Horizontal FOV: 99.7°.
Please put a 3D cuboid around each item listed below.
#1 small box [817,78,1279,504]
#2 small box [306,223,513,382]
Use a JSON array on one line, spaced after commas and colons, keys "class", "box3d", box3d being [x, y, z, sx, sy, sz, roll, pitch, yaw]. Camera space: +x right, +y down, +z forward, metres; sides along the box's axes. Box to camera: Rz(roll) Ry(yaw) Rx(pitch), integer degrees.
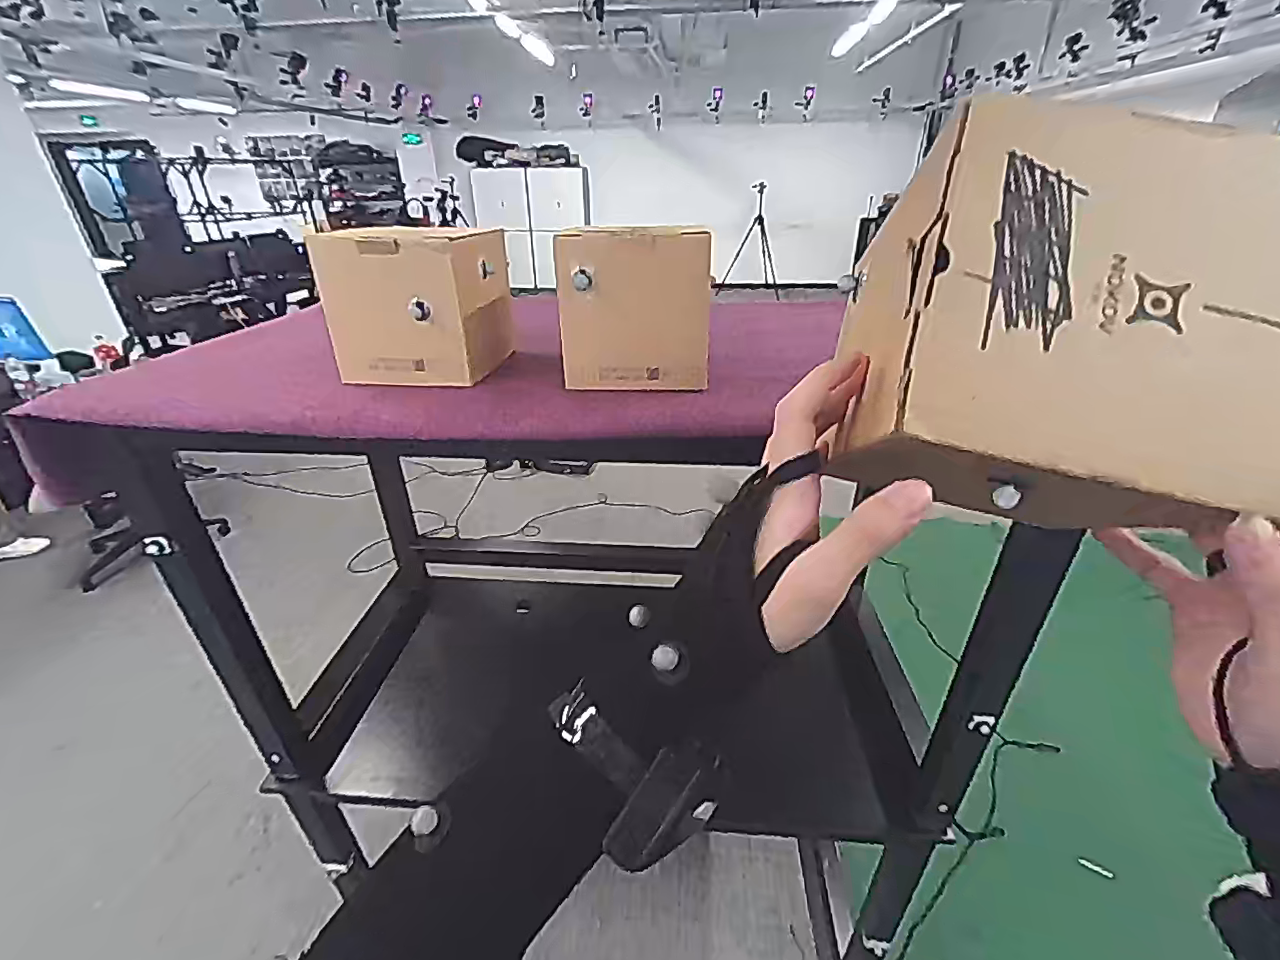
[{"class": "small box", "box3d": [0.220, -0.083, 0.318, 0.179, 0.168, 0.176, 13, -4, 6]}, {"class": "small box", "box3d": [-0.269, -0.227, 0.681, 0.168, 0.176, 0.179, 4, 27, 6]}]
